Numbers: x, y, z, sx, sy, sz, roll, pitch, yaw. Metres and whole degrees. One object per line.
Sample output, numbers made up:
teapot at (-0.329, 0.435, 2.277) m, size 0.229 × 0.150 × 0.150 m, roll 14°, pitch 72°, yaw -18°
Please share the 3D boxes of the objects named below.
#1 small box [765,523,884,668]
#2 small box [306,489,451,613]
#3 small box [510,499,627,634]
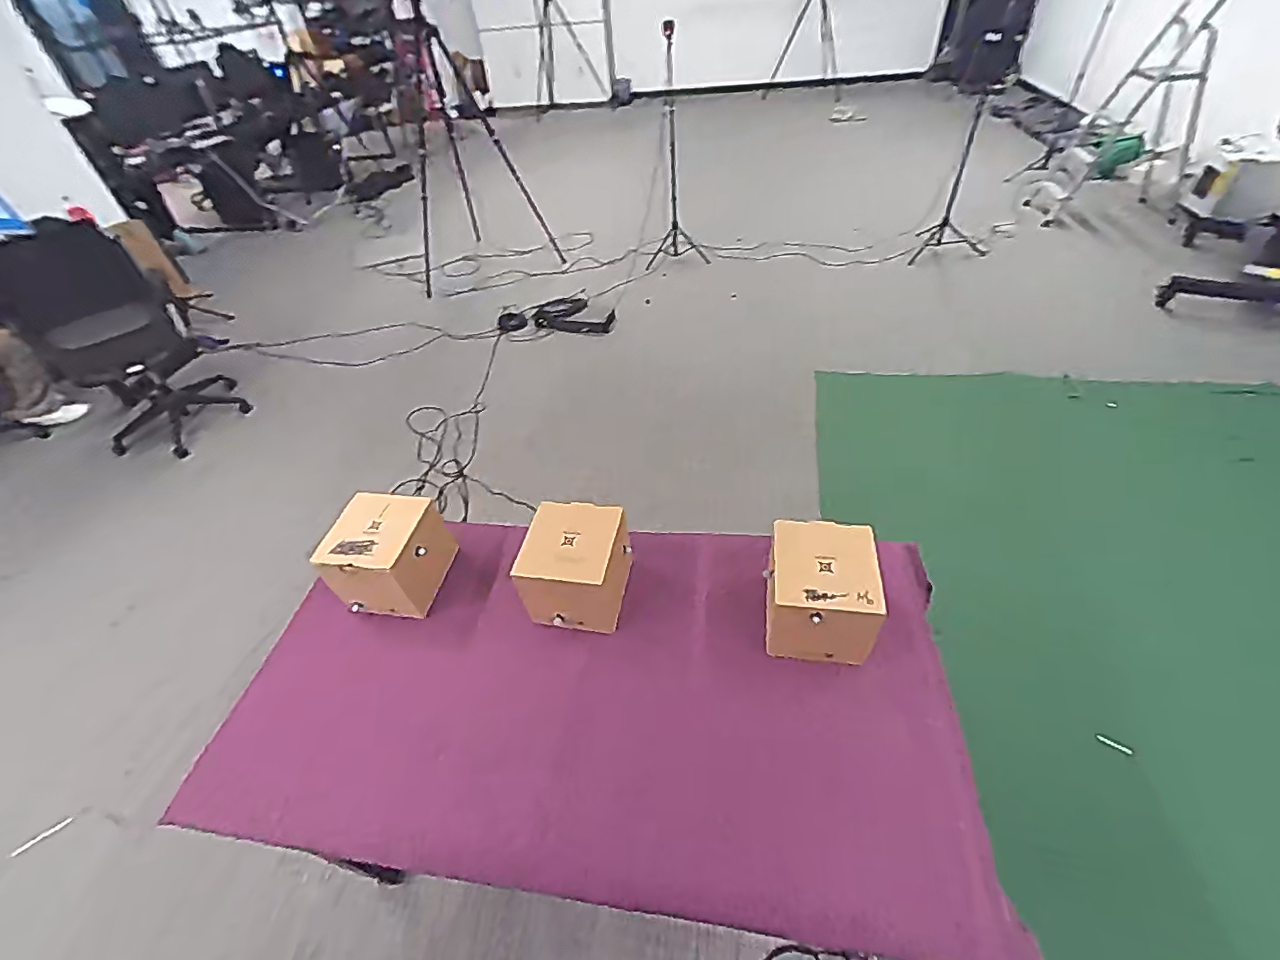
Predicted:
small box at (0.307, 0.199, 0.938) m, size 0.168 × 0.176 × 0.179 m, roll 4°, pitch 46°, yaw 10°
small box at (-0.496, 0.141, 1.058) m, size 0.168 × 0.176 × 0.179 m, roll 5°, pitch 47°, yaw 9°
small box at (-0.121, 0.161, 1.013) m, size 0.168 × 0.176 × 0.179 m, roll 5°, pitch 48°, yaw 11°
